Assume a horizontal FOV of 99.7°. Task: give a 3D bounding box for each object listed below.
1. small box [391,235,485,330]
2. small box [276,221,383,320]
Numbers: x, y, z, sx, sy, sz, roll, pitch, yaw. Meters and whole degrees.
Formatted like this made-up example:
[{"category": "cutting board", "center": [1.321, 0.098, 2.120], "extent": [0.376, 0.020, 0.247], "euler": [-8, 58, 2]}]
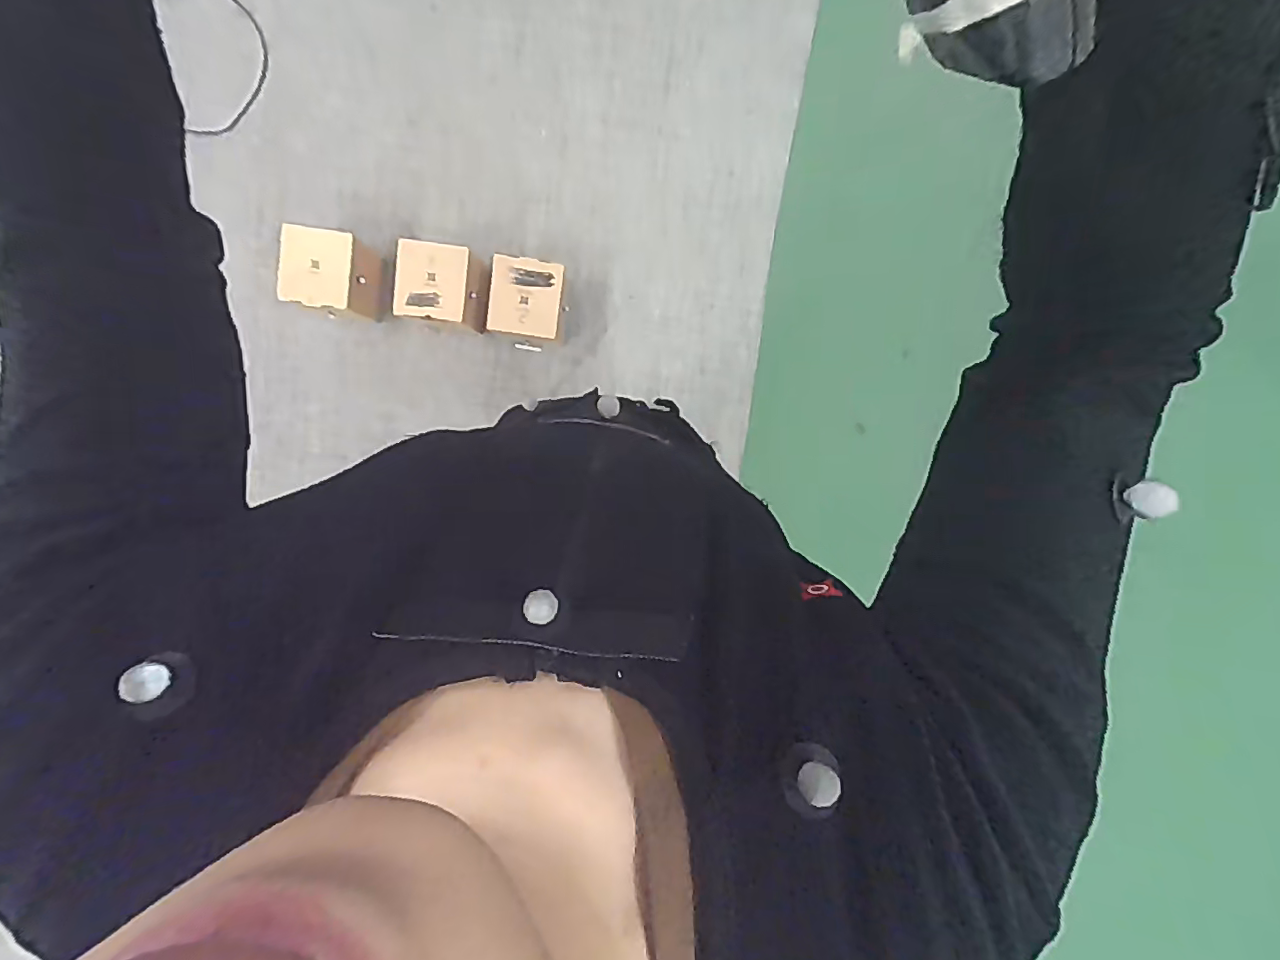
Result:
[{"category": "small box", "center": [-0.491, -0.477, 1.335], "extent": [0.168, 0.176, 0.179], "euler": [7, 95, 0]}, {"category": "small box", "center": [-0.756, -0.508, 1.333], "extent": [0.168, 0.176, 0.179], "euler": [8, 96, -1]}]
